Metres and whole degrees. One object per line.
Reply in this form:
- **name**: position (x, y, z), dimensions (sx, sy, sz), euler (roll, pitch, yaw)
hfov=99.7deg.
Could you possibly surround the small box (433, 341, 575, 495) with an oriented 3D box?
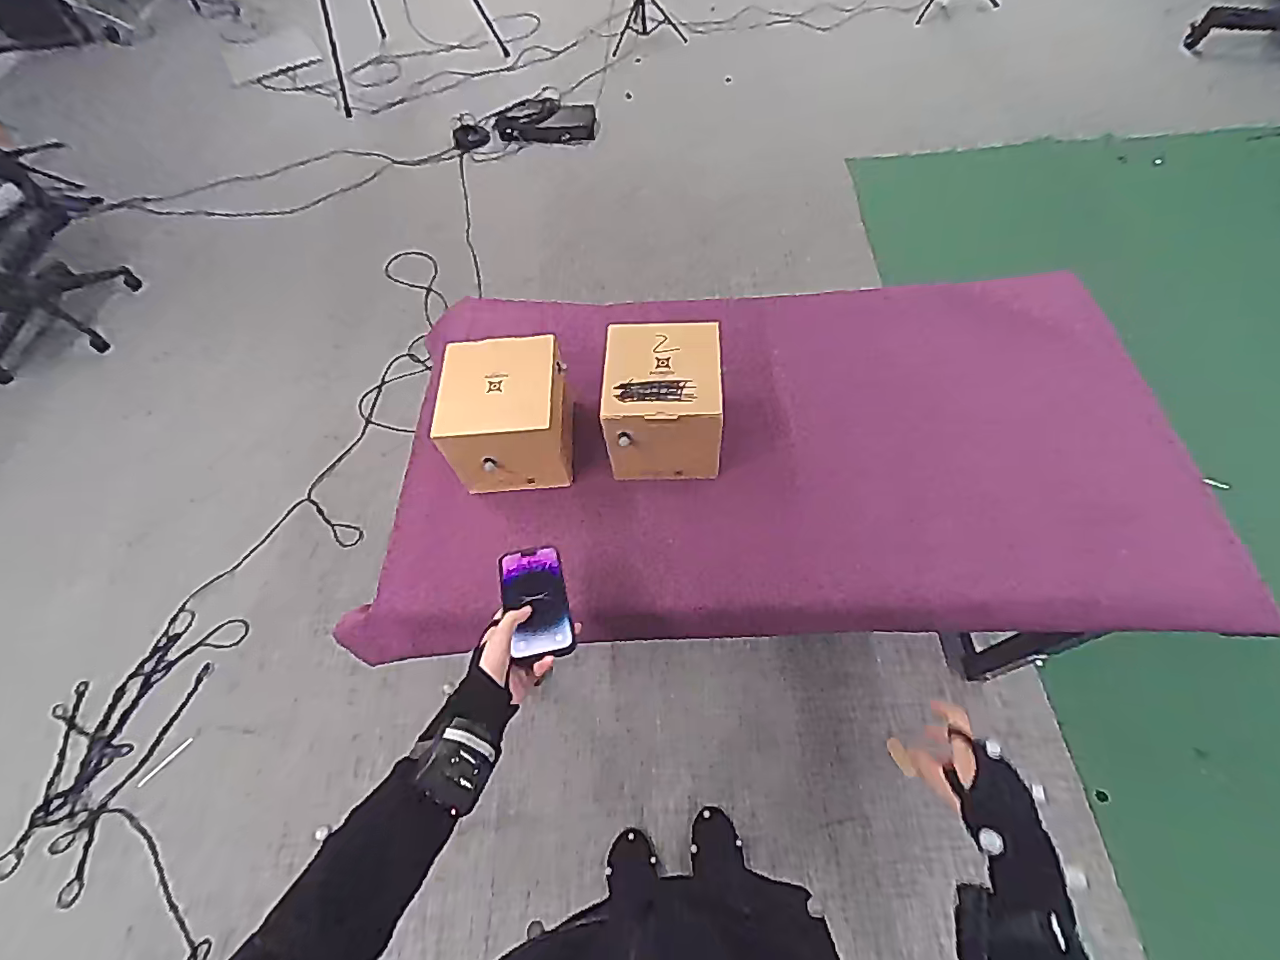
- **small box**: position (-0.197, -0.087, 0.837), dimensions (0.168, 0.176, 0.179), euler (-5, 58, 2)
